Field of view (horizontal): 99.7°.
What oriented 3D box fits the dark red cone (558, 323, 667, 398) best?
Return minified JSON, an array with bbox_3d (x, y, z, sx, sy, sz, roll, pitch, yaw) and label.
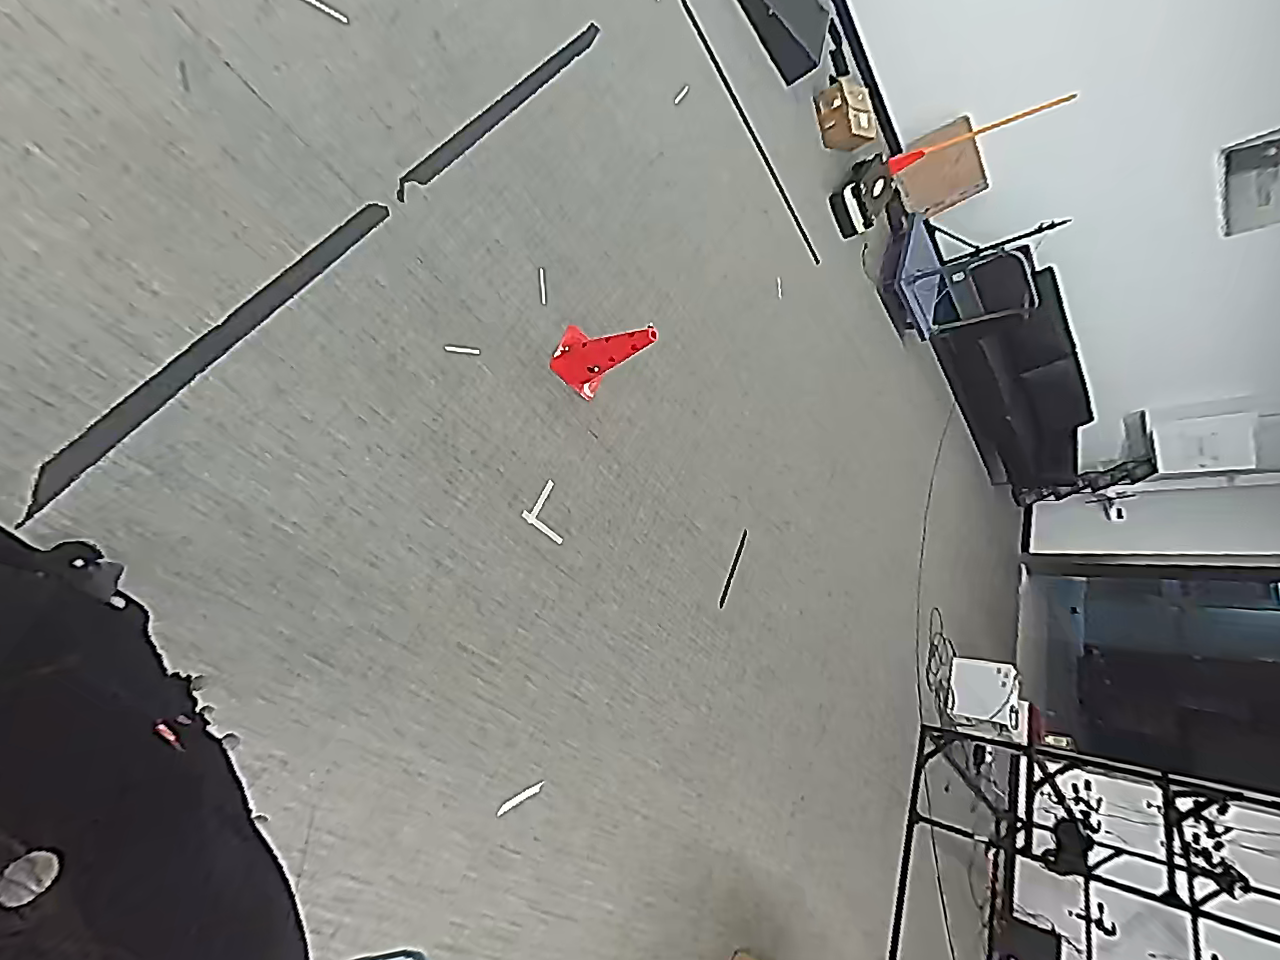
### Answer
[{"bbox_3d":[-0.065,-0.416,1.710,0.201,0.394,0.202,38,60,-34],"label":"dark red cone"}]
